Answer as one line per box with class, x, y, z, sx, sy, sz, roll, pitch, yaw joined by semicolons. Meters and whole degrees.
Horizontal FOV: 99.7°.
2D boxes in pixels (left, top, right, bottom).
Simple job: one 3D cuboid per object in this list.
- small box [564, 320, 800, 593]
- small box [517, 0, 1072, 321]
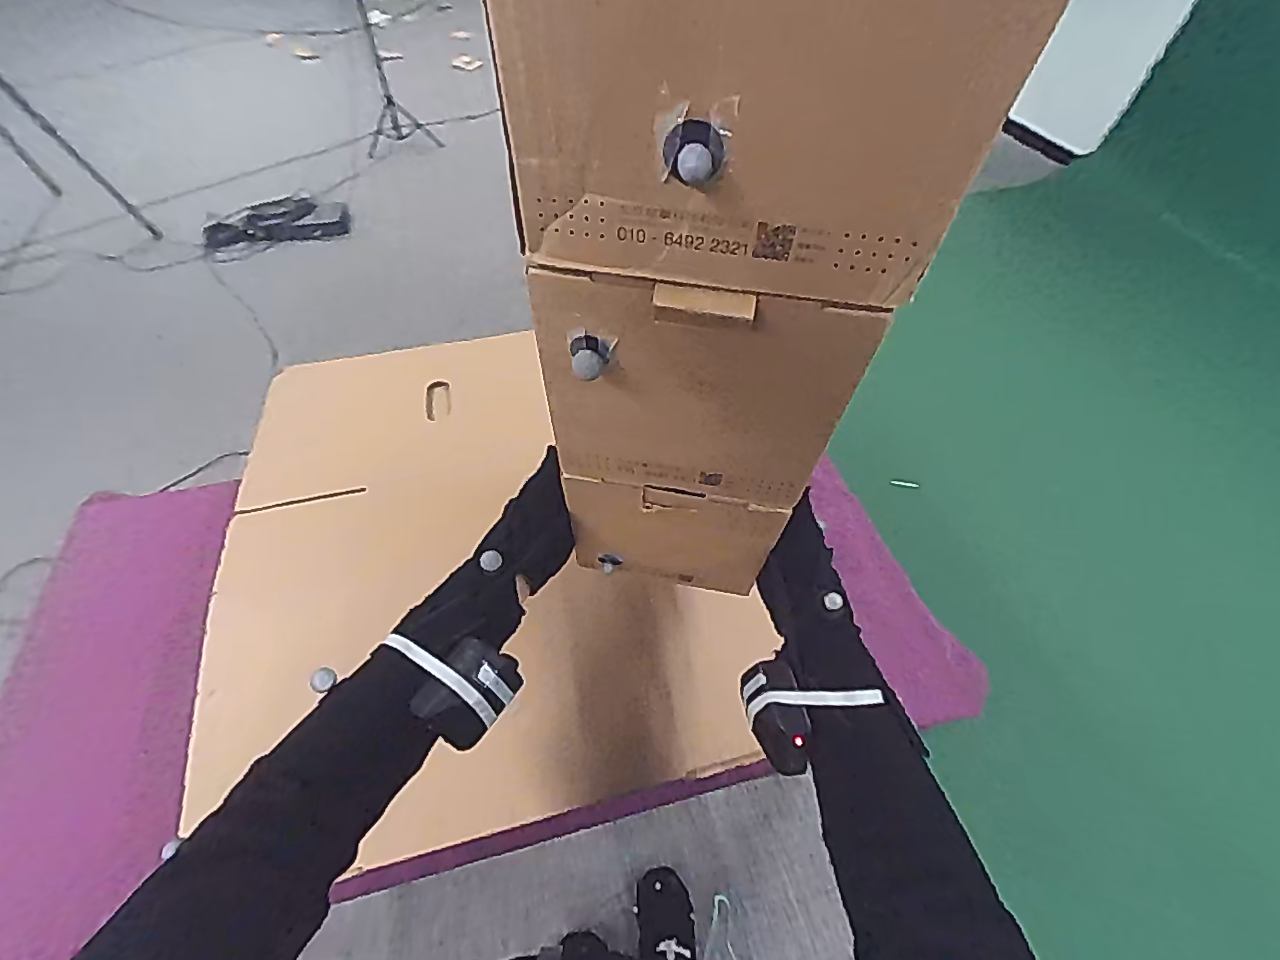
small box;0.039;-0.014;0.493;0.168;0.176;0.179;10;57;5
small box;0.049;-0.196;0.220;0.168;0.176;0.179;8;58;3
